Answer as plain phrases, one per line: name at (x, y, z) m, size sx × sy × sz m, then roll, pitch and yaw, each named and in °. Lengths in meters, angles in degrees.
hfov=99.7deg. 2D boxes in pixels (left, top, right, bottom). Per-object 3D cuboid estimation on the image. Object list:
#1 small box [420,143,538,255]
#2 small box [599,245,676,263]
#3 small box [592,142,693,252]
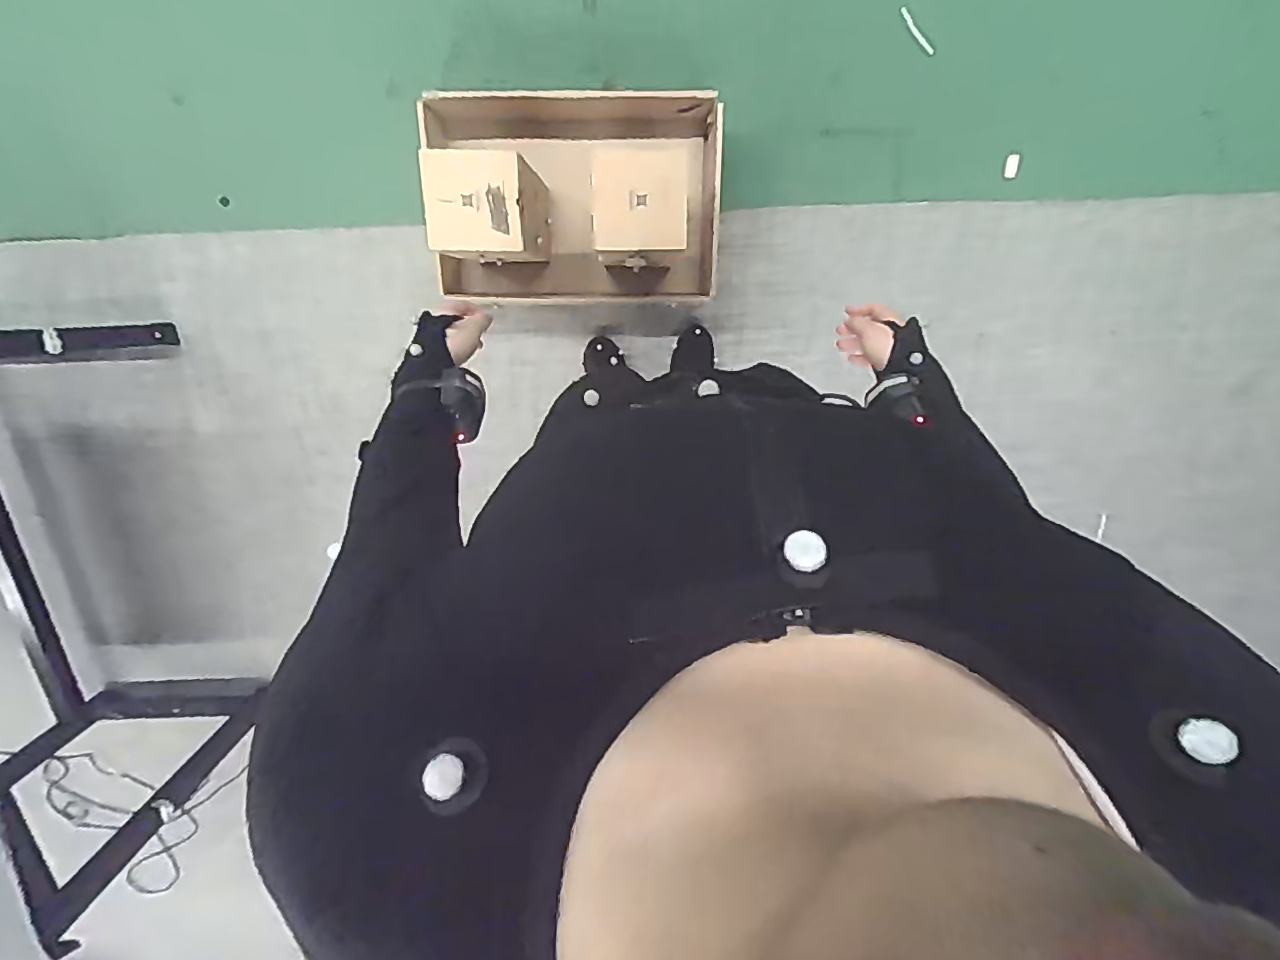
small box at (-0.293, -0.524, 1.026) m, size 0.179 × 0.176 × 0.168 m, roll 1°, pitch 108°, yaw 0°
small box at (0.001, -0.574, 1.186) m, size 0.168 × 0.176 × 0.179 m, roll 2°, pitch 109°, yaw 0°
small box at (0.006, -0.529, 1.029) m, size 0.179 × 0.176 × 0.168 m, roll -1°, pitch 110°, yaw 0°
